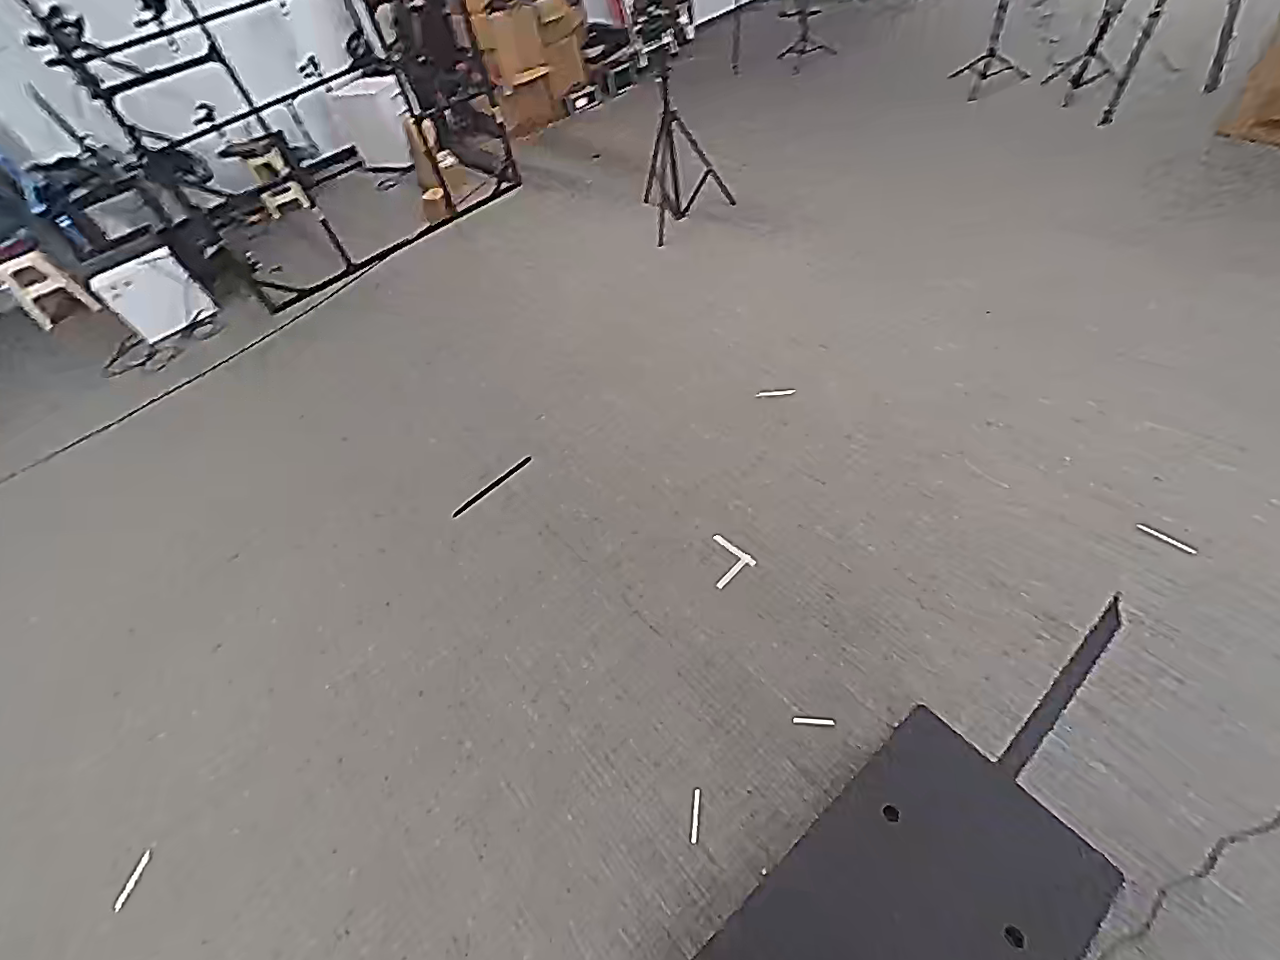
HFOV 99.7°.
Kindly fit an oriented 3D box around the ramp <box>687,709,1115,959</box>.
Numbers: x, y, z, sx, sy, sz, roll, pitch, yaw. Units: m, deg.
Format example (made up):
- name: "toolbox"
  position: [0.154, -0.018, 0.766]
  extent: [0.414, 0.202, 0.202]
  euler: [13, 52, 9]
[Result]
- name: "ramp"
  position: [0.502, 0.957, 1.103]
  extent: [0.991, 0.206, 0.509]
  euler: [-38, 52, -19]
